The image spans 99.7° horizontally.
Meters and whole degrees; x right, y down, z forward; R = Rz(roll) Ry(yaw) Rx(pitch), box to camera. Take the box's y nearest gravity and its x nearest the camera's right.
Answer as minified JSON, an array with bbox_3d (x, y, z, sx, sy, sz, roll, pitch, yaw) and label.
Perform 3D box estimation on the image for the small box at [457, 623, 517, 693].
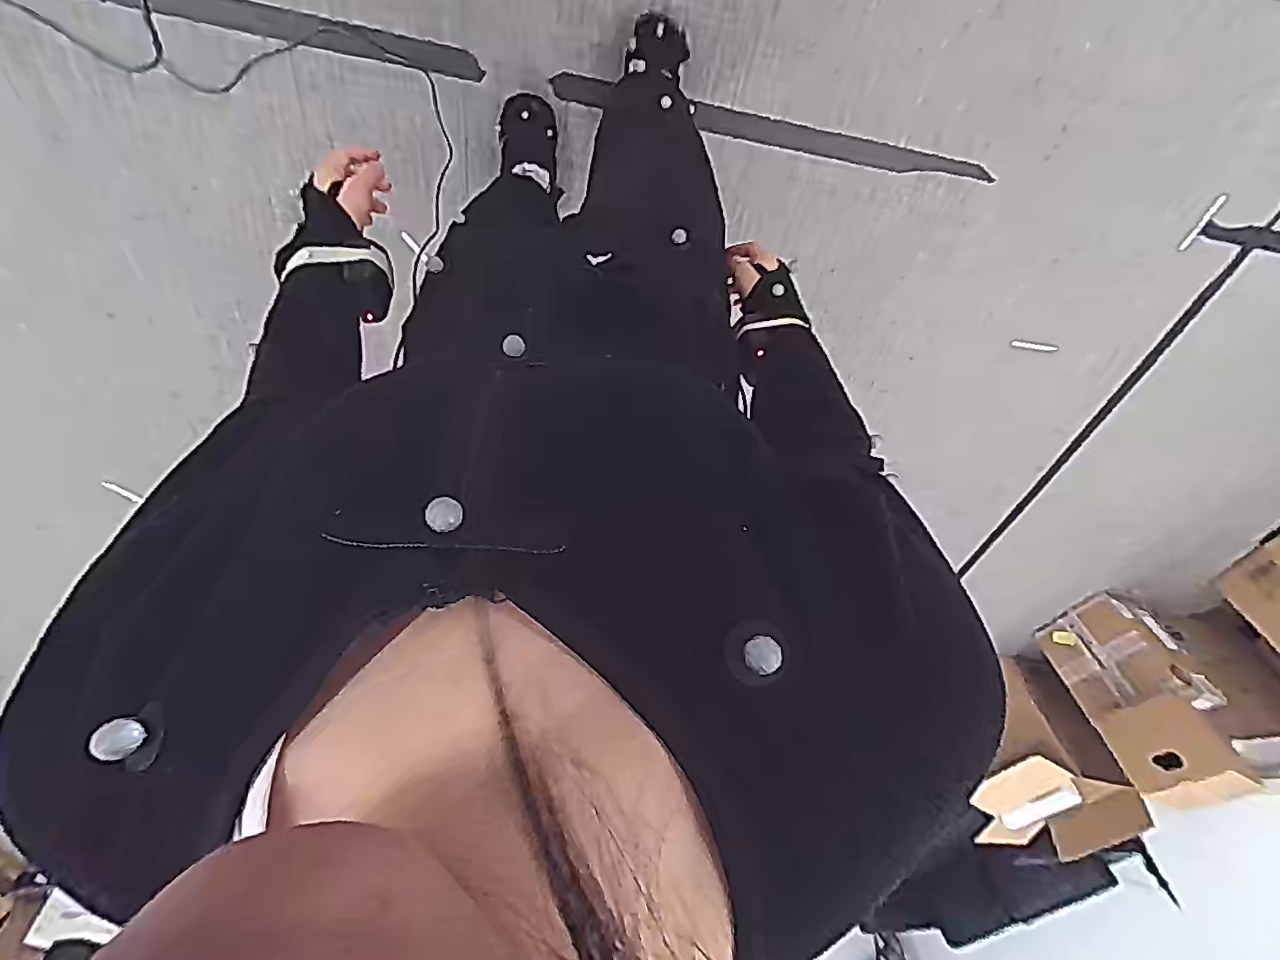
[{"bbox_3d":[-0.509,0.596,1.816,0.179,0.176,0.168,5,129,-9],"label":"small box"}]
